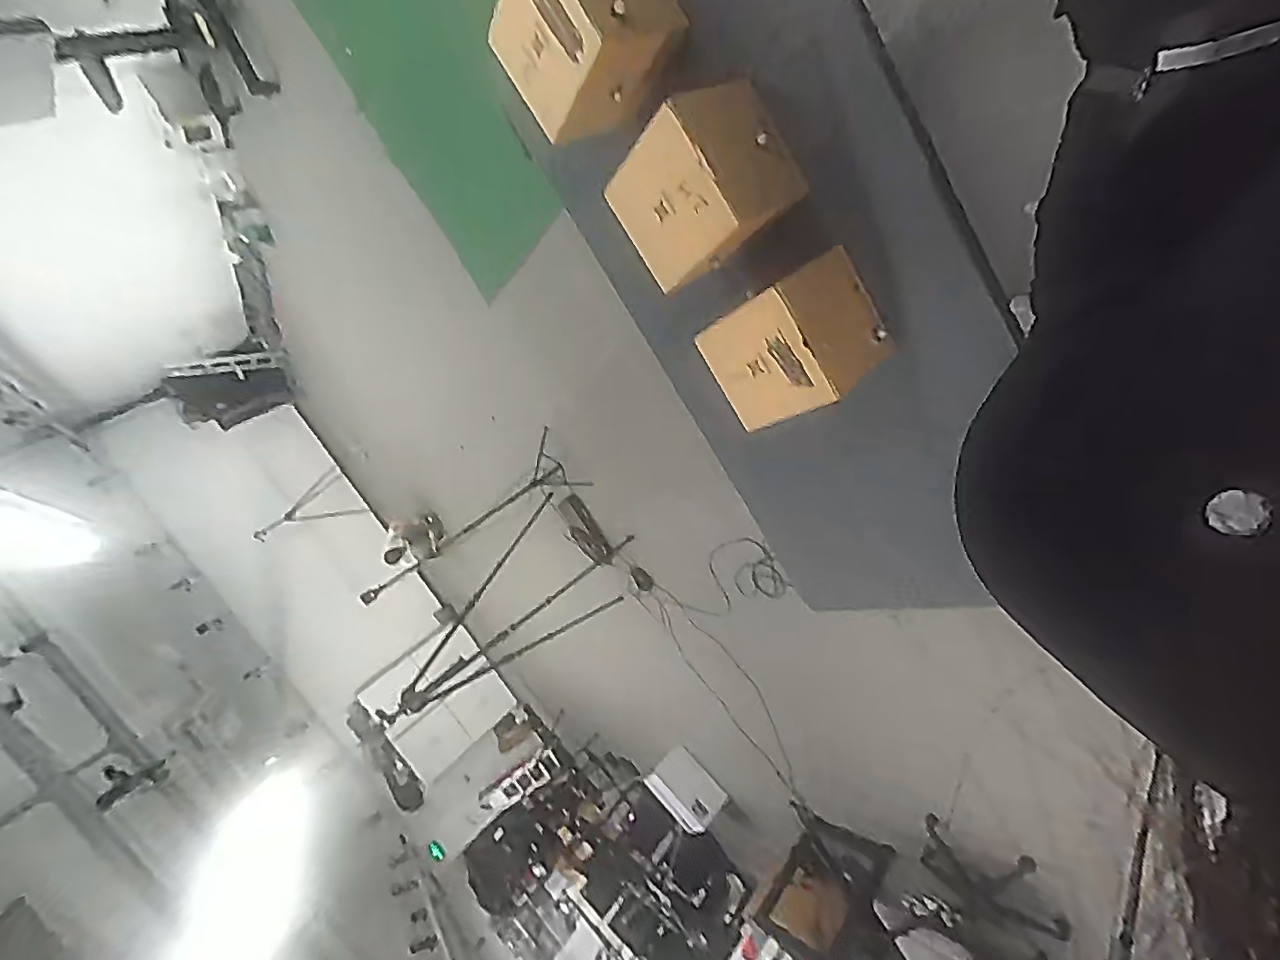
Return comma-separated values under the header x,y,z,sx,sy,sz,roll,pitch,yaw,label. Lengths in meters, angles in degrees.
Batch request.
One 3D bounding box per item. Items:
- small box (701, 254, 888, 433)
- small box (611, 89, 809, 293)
x,y,z,sx,sy,sz,roll,pitch,yaw,label
0.230,-0.196,0.785,0.168,0.176,0.179,58,149,-8,small box
0.096,-0.397,0.754,0.168,0.176,0.179,56,149,-7,small box
